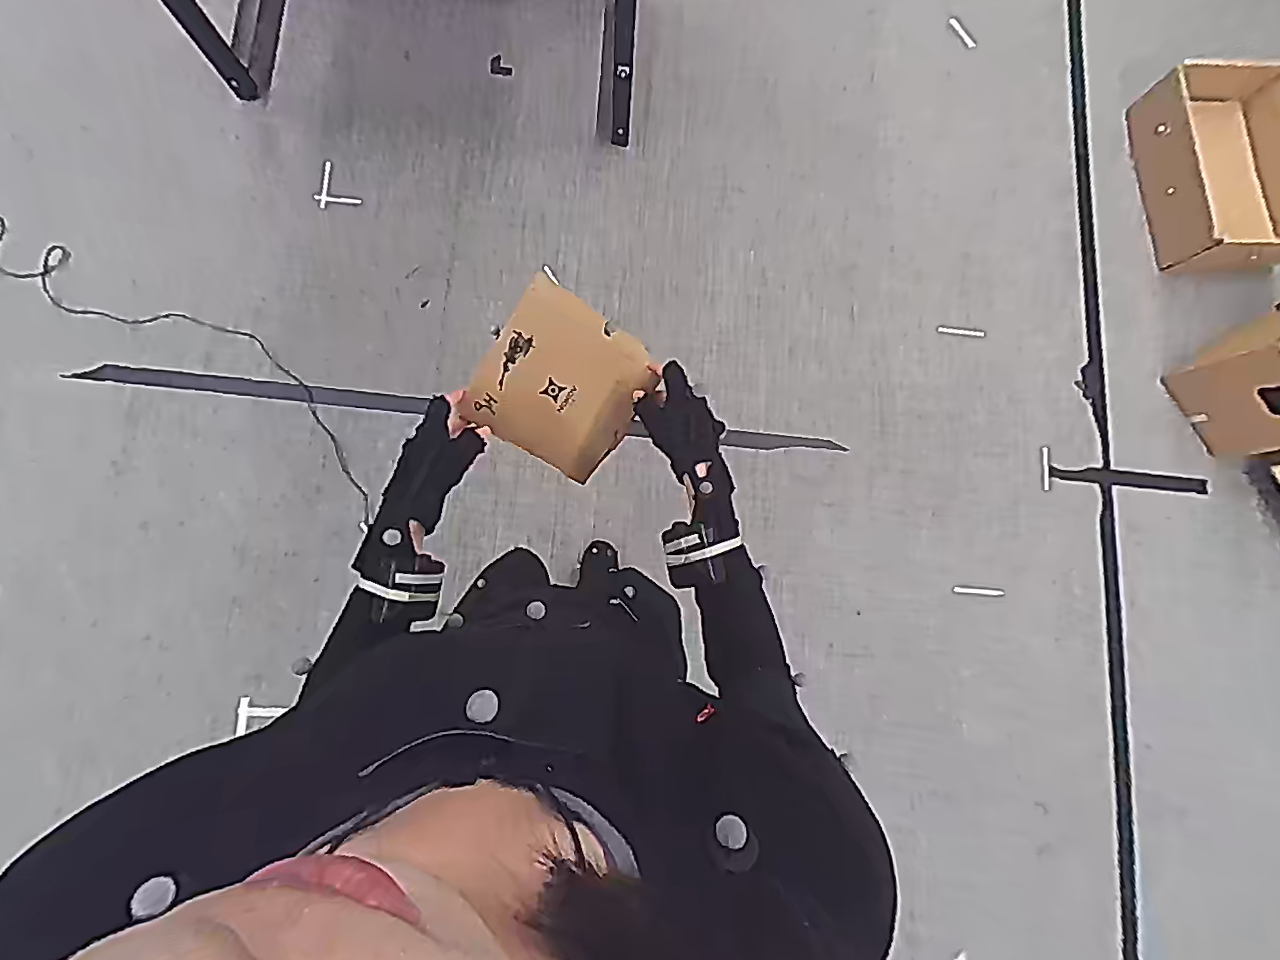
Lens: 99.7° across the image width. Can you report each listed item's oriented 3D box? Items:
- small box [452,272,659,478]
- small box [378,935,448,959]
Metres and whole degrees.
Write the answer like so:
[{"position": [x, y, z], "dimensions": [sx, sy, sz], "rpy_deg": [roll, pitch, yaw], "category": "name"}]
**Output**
[{"position": [-0.101, -0.138, 0.670], "dimensions": [0.179, 0.176, 0.168], "rpy_deg": [31, 108, -20], "category": "small box"}, {"position": [-0.544, 1.230, 1.261], "dimensions": [0.168, 0.176, 0.179], "rpy_deg": [-14, 82, -6], "category": "small box"}]
